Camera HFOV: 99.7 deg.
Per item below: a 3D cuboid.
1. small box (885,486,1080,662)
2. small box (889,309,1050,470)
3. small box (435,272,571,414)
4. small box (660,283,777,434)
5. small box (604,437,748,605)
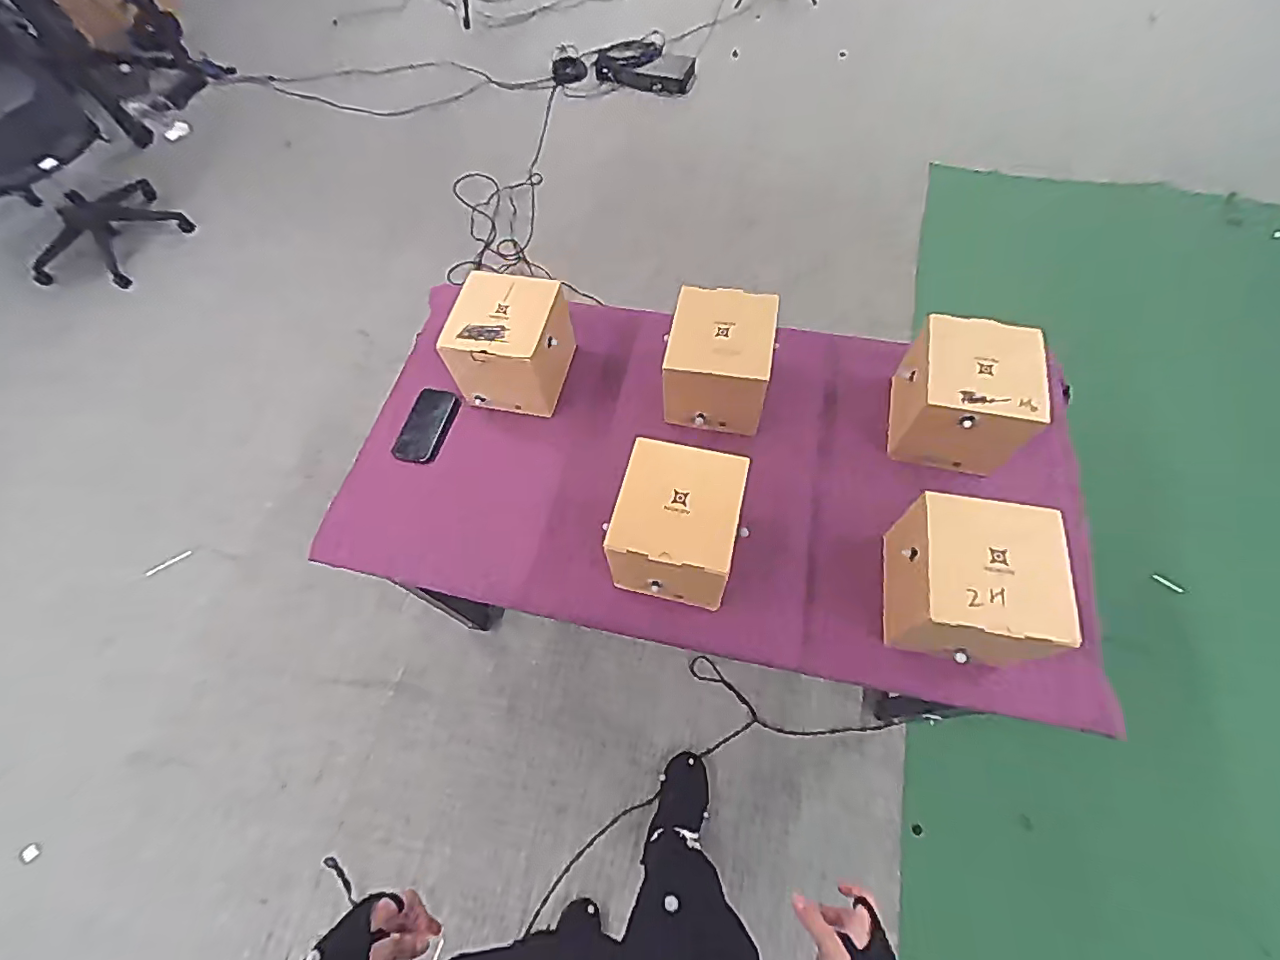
[{"bbox_3d":[0.440,0.131,0.728,0.168,0.176,0.179,8,65,10],"label":"small box"},{"bbox_3d":[0.510,-0.140,0.862,0.168,0.176,0.179,10,64,10],"label":"small box"},{"bbox_3d":[-0.231,-0.238,0.966,0.168,0.176,0.179,9,64,8],"label":"small box"},{"bbox_3d":[0.131,-0.204,0.924,0.168,0.176,0.179,9,65,9],"label":"small box"},{"bbox_3d":[0.055,0.064,0.795,0.168,0.176,0.179,11,64,9],"label":"small box"}]
